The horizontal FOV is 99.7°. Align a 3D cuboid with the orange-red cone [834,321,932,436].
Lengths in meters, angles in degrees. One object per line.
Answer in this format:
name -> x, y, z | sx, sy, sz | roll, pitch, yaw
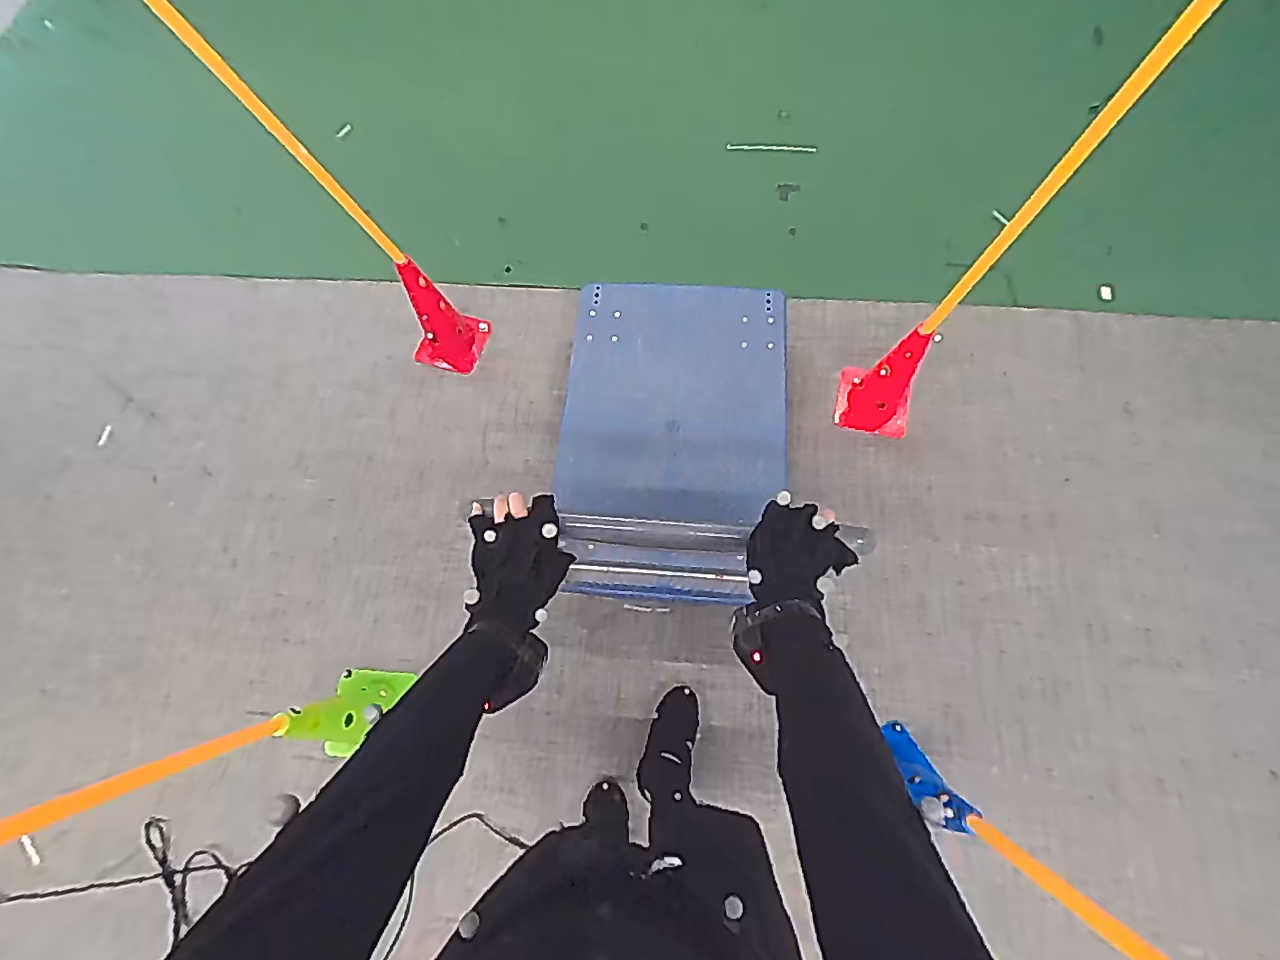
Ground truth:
orange-red cone -> 0.665, -0.288, 1.408 | 0.198, 0.360, 0.199 | 14, 72, 8
